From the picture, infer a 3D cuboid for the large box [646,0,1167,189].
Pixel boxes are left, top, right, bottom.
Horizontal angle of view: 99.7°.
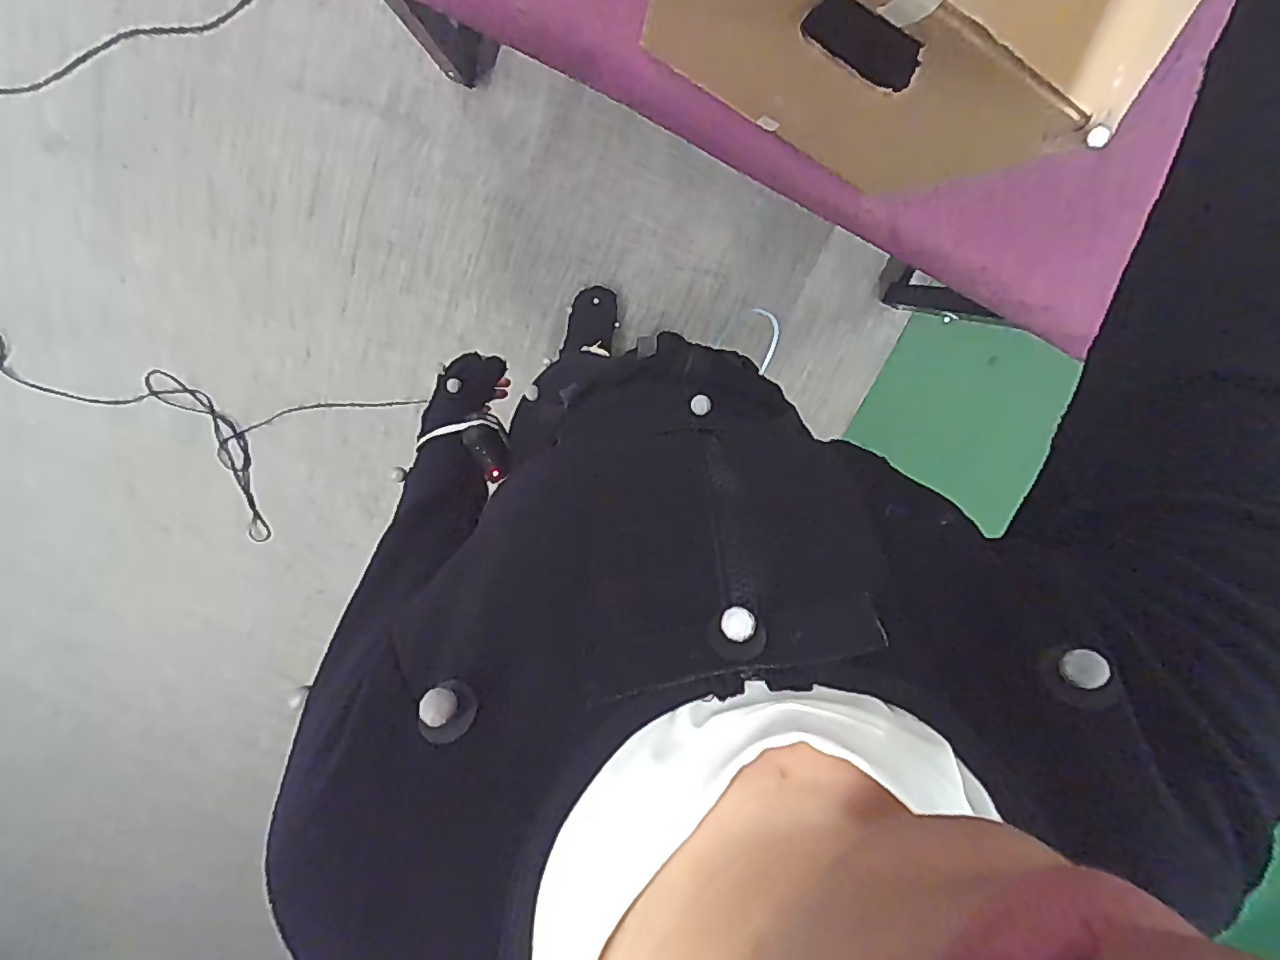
[{"bbox_3d":[0.236,-0.512,0.414,0.320,0.320,0.408,23,108,-13],"label":"large box"}]
